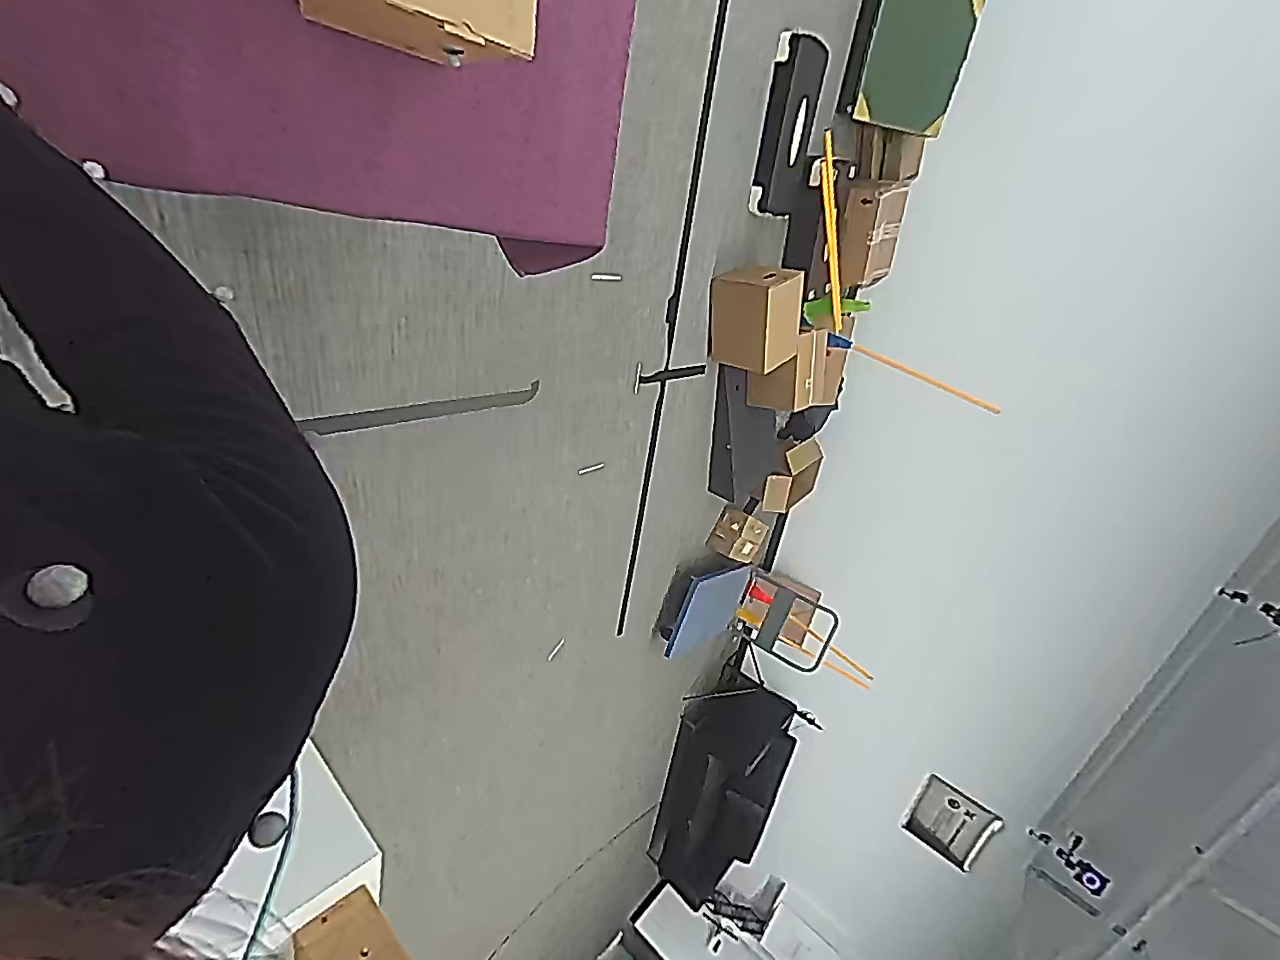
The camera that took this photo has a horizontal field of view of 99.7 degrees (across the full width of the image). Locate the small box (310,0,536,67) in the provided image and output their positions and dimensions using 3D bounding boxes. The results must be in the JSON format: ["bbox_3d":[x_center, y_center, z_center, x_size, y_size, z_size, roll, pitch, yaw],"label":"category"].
[{"bbox_3d":[-0.215,-0.526,0.521,0.168,0.176,0.179,-21,129,-47],"label":"small box"}]

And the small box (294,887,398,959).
[{"bbox_3d":[-0.710,1.145,1.301,0.168,0.176,0.179,-13,124,-50],"label":"small box"}]
